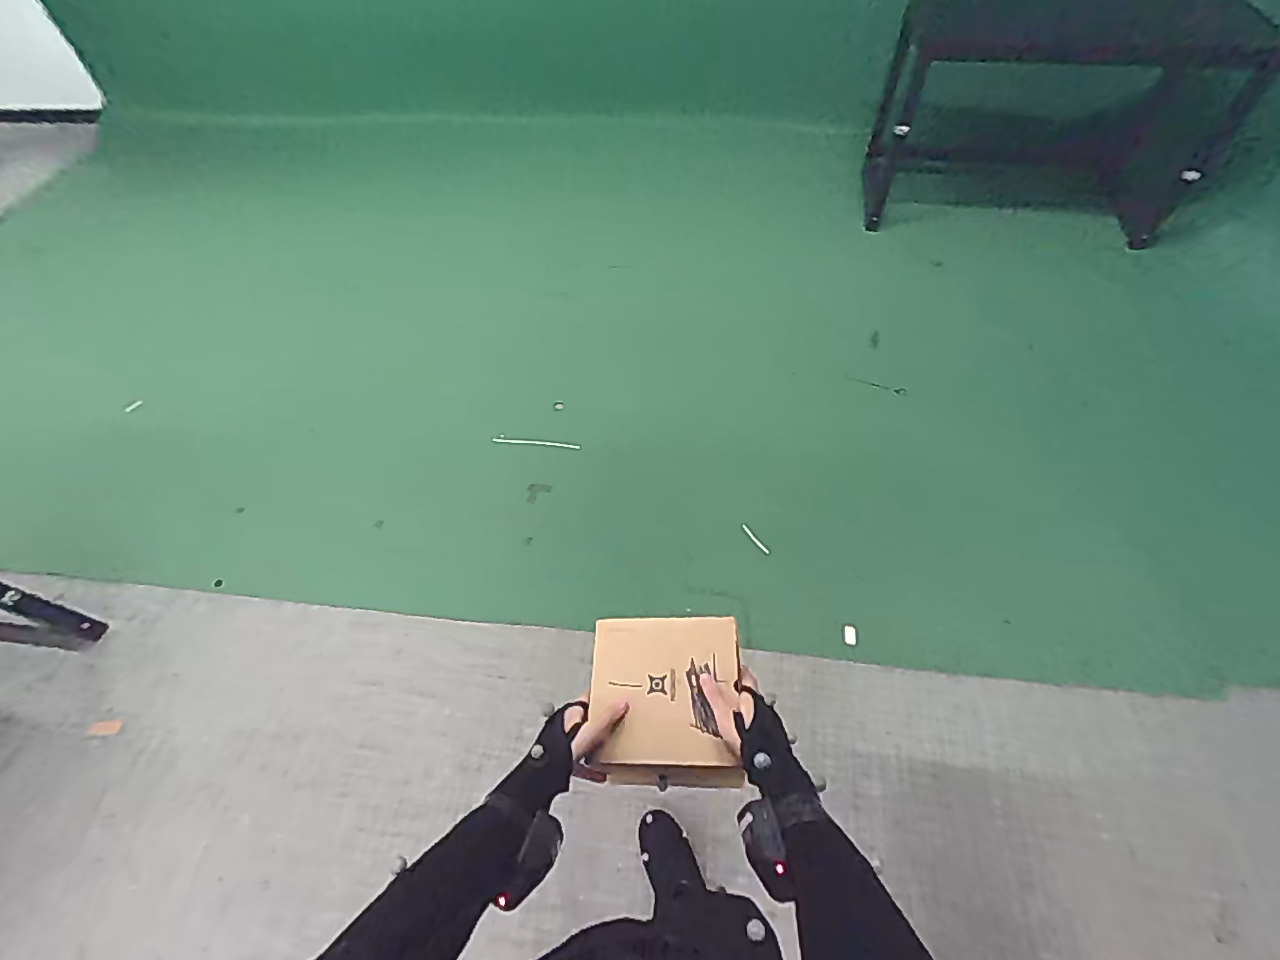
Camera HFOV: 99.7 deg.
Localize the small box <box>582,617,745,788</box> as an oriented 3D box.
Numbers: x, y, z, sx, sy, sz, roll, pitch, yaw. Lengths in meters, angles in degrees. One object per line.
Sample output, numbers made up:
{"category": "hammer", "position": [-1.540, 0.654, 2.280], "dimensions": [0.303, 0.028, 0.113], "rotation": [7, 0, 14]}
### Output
{"category": "small box", "position": [0.038, 0.282, 0.681], "dimensions": [0.179, 0.176, 0.168], "rotation": [-3, 53, 9]}
